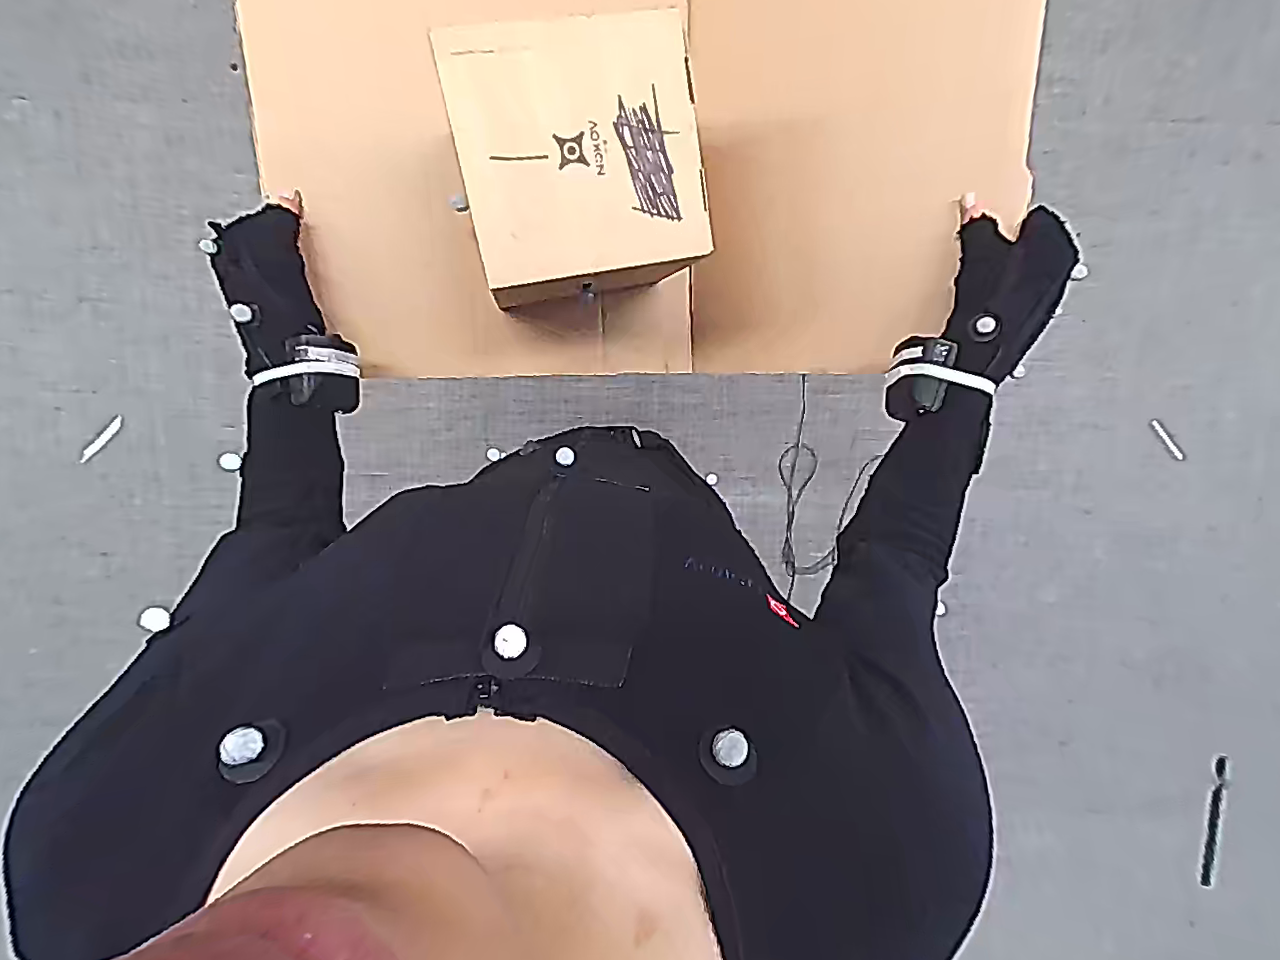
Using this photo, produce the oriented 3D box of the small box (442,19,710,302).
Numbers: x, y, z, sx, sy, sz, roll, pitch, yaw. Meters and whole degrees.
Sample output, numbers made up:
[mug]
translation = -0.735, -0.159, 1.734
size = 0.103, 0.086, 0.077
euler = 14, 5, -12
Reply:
[small box]
translation = -0.056, -0.257, 0.472
size = 0.179, 0.176, 0.168
euler = -12, 105, -9
